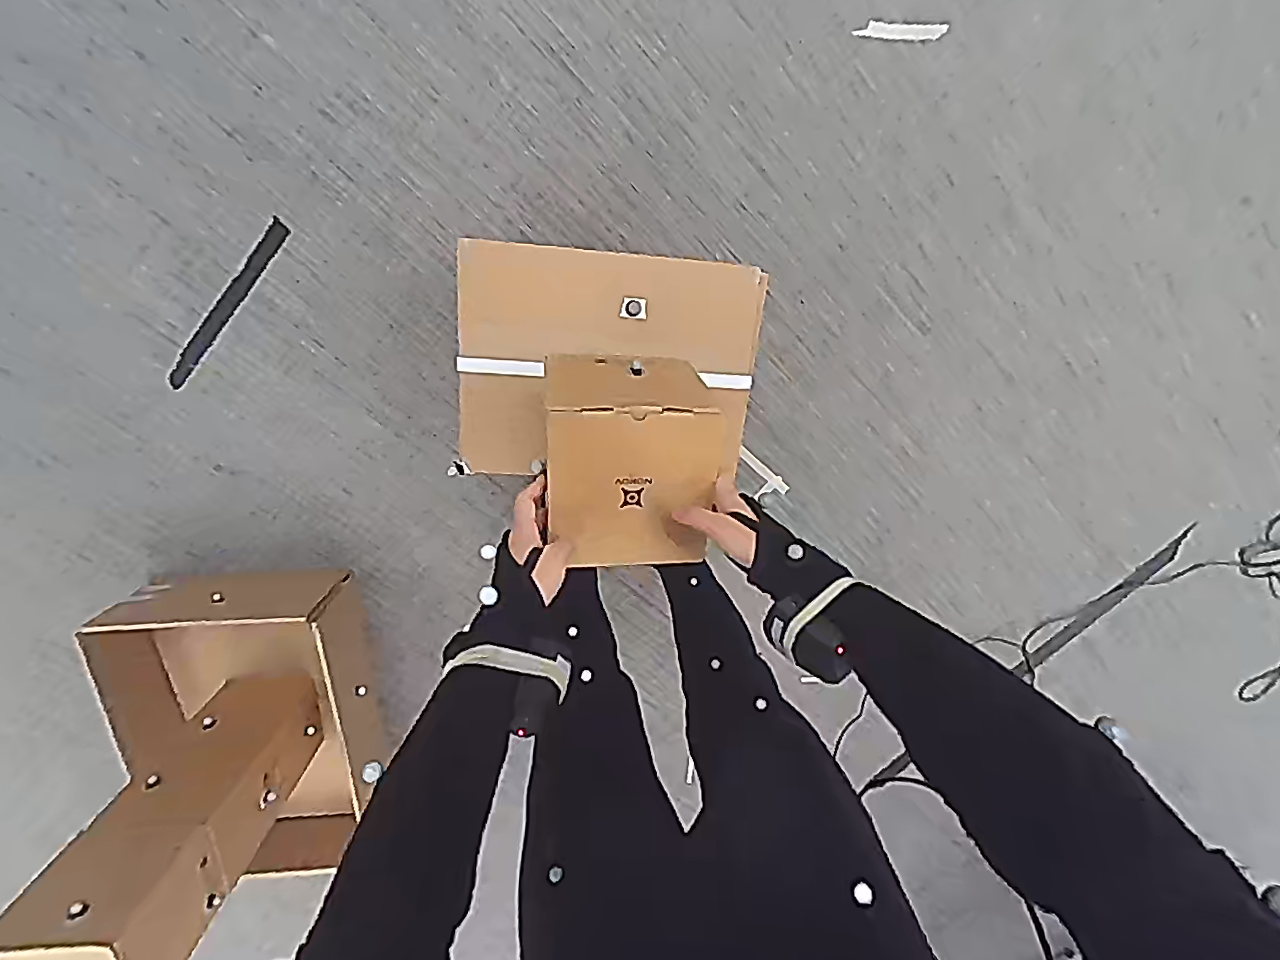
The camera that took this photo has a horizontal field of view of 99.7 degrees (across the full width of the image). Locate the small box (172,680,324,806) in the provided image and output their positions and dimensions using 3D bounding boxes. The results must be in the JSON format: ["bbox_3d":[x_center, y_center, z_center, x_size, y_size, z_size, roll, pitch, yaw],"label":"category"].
[{"bbox_3d":[-0.769,0.520,1.081,0.179,0.176,0.168,1,109,-6],"label":"small box"}]

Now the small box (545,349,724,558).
[{"bbox_3d":[-0.020,-0.033,0.597,0.168,0.176,0.179,-1,119,-10],"label":"small box"}]

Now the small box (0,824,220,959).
[{"bbox_3d":[-0.746,0.624,0.772,0.179,0.176,0.168,-1,109,-4],"label":"small box"}]

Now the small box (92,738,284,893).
[{"bbox_3d":[-0.756,0.570,0.928,0.179,0.176,0.168,0,109,-6],"label":"small box"}]
